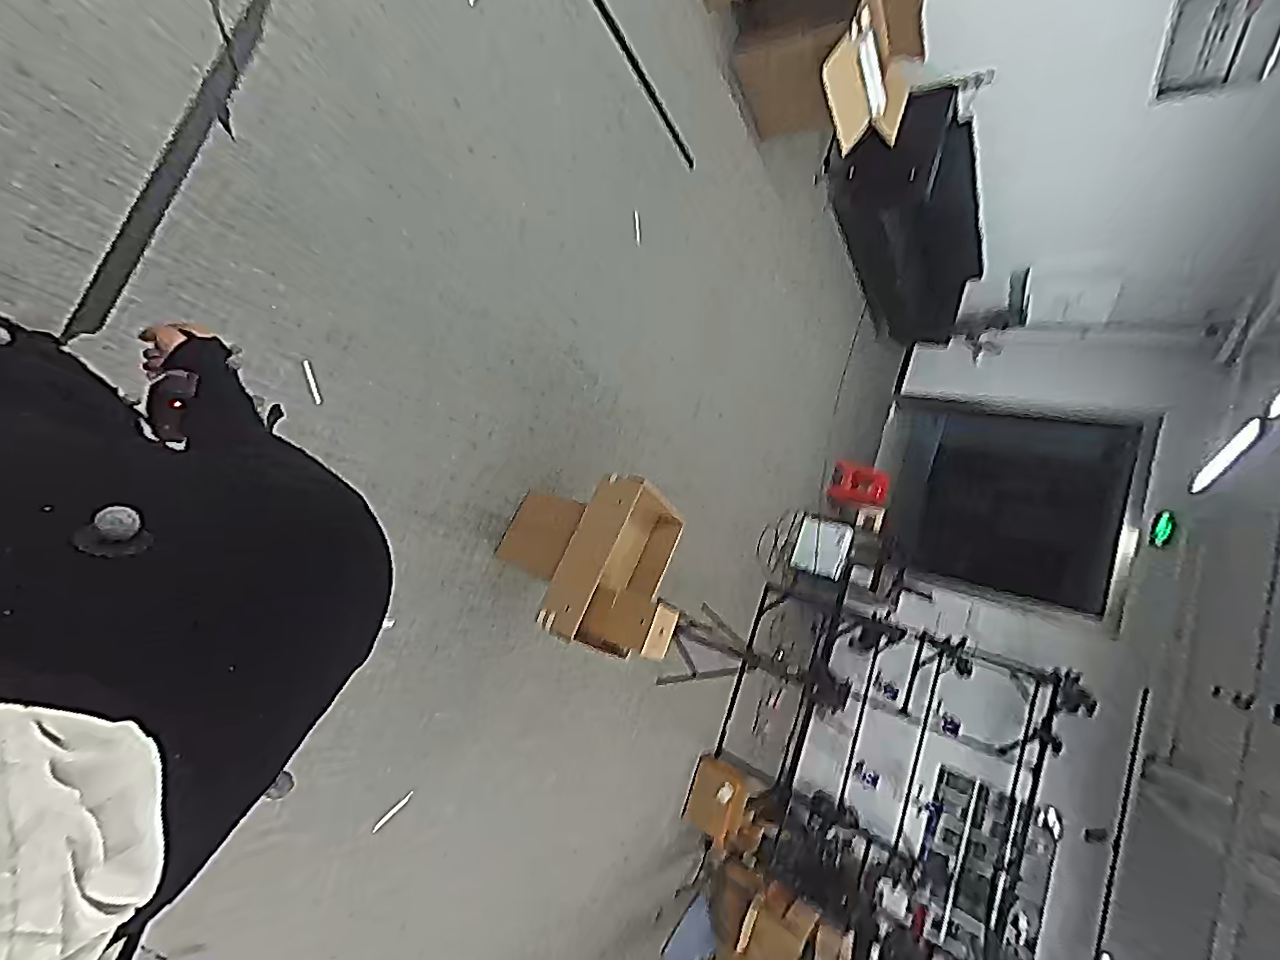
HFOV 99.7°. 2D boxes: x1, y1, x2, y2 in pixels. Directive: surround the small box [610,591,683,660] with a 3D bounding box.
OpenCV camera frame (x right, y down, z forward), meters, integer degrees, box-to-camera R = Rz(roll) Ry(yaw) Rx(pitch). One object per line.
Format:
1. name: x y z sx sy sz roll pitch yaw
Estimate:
1. small box: 0.020 0.502 1.877 0.168 0.176 0.179 39 69 -51
